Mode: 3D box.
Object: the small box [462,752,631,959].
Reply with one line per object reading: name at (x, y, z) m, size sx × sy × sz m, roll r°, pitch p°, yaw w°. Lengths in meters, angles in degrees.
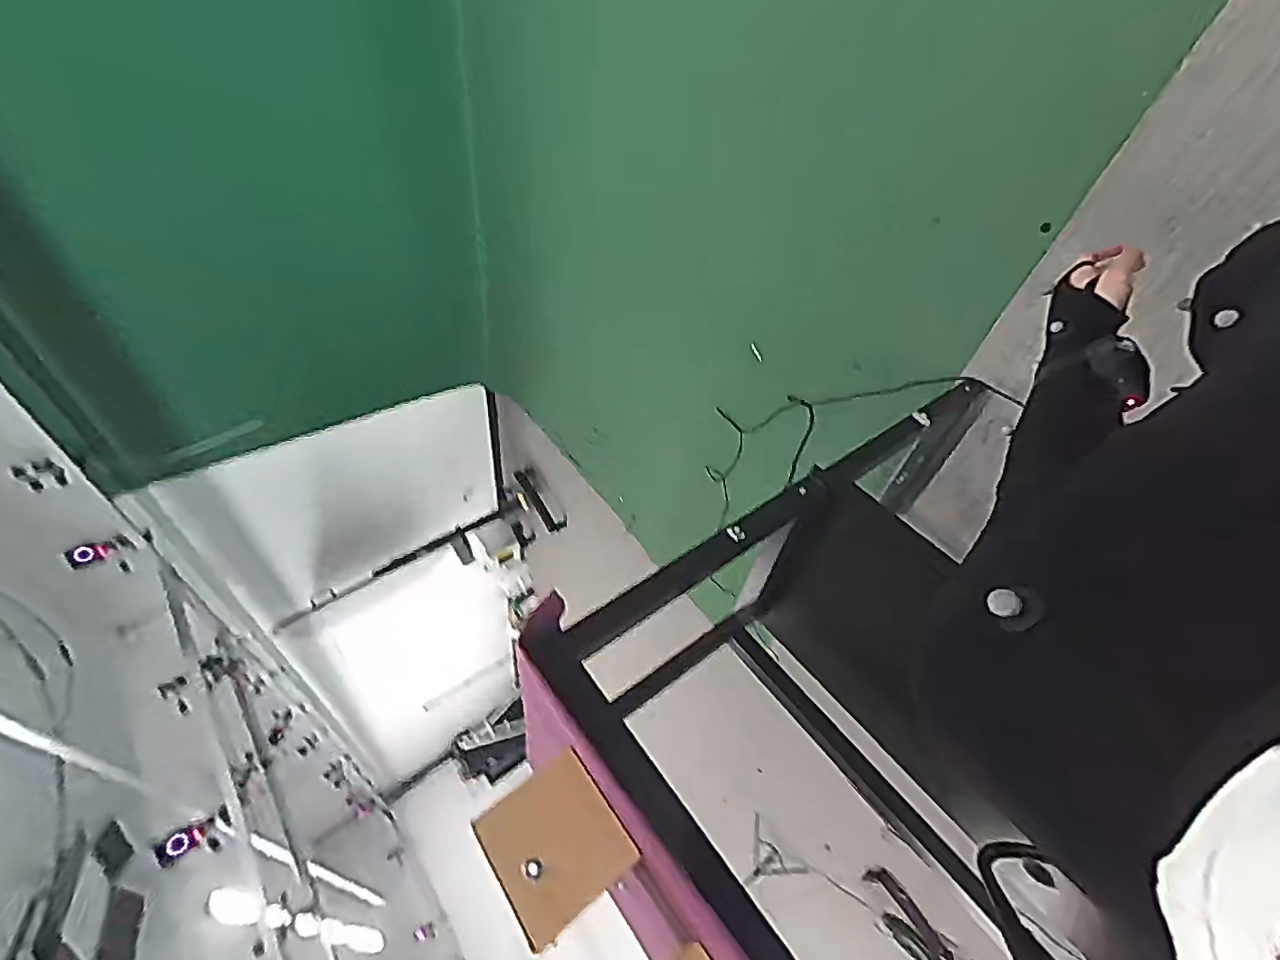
small box at (-0.131, 0.538, 0.783) m, size 0.179 × 0.176 × 0.168 m, roll 45°, pitch 146°, yaw 28°
